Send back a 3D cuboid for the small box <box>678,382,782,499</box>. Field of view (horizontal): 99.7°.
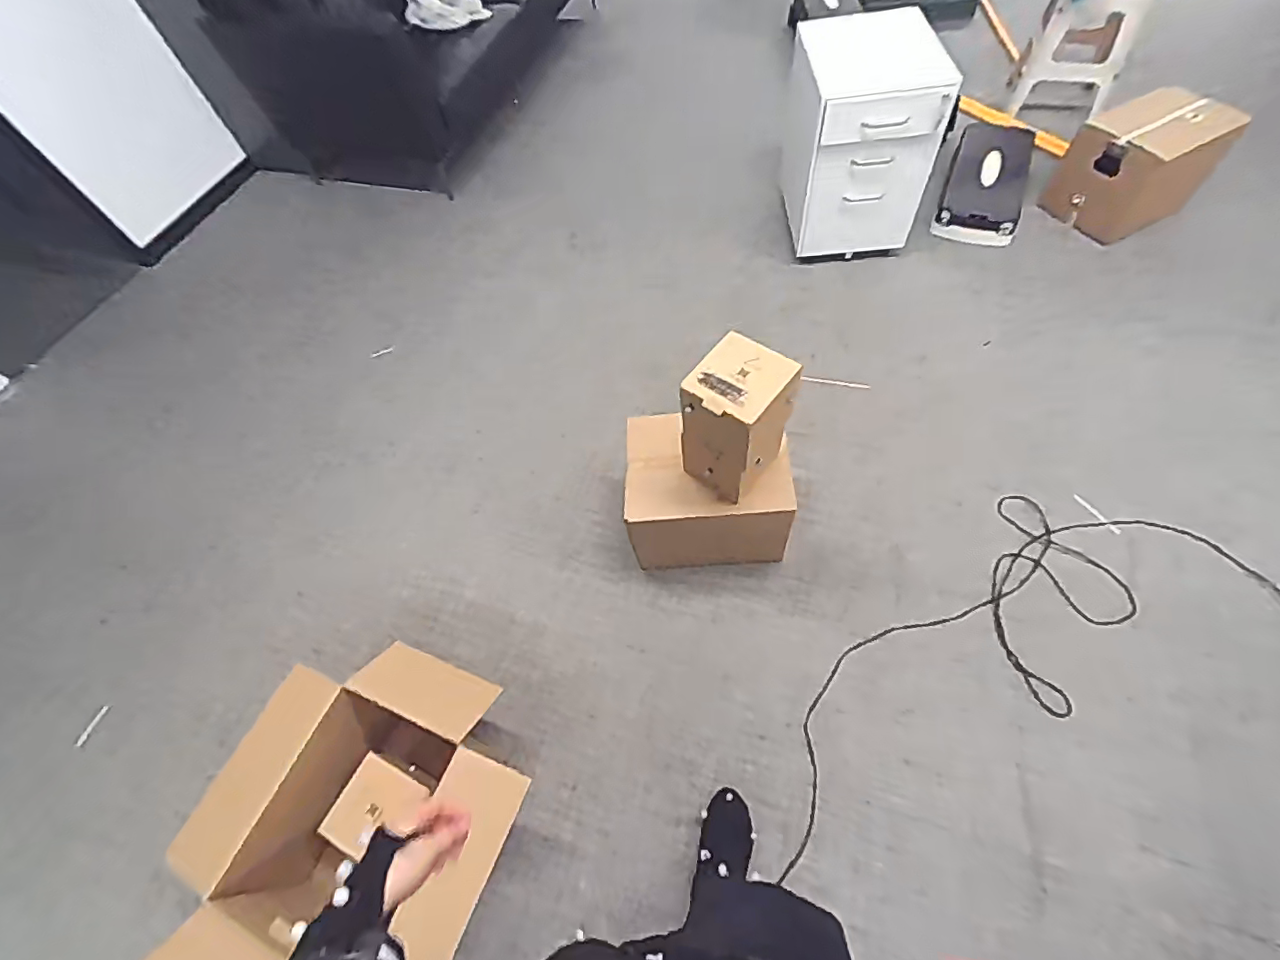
[{"bbox_3d":[0.210,-0.087,1.257,0.168,0.176,0.179,34,71,23],"label":"small box"}]
